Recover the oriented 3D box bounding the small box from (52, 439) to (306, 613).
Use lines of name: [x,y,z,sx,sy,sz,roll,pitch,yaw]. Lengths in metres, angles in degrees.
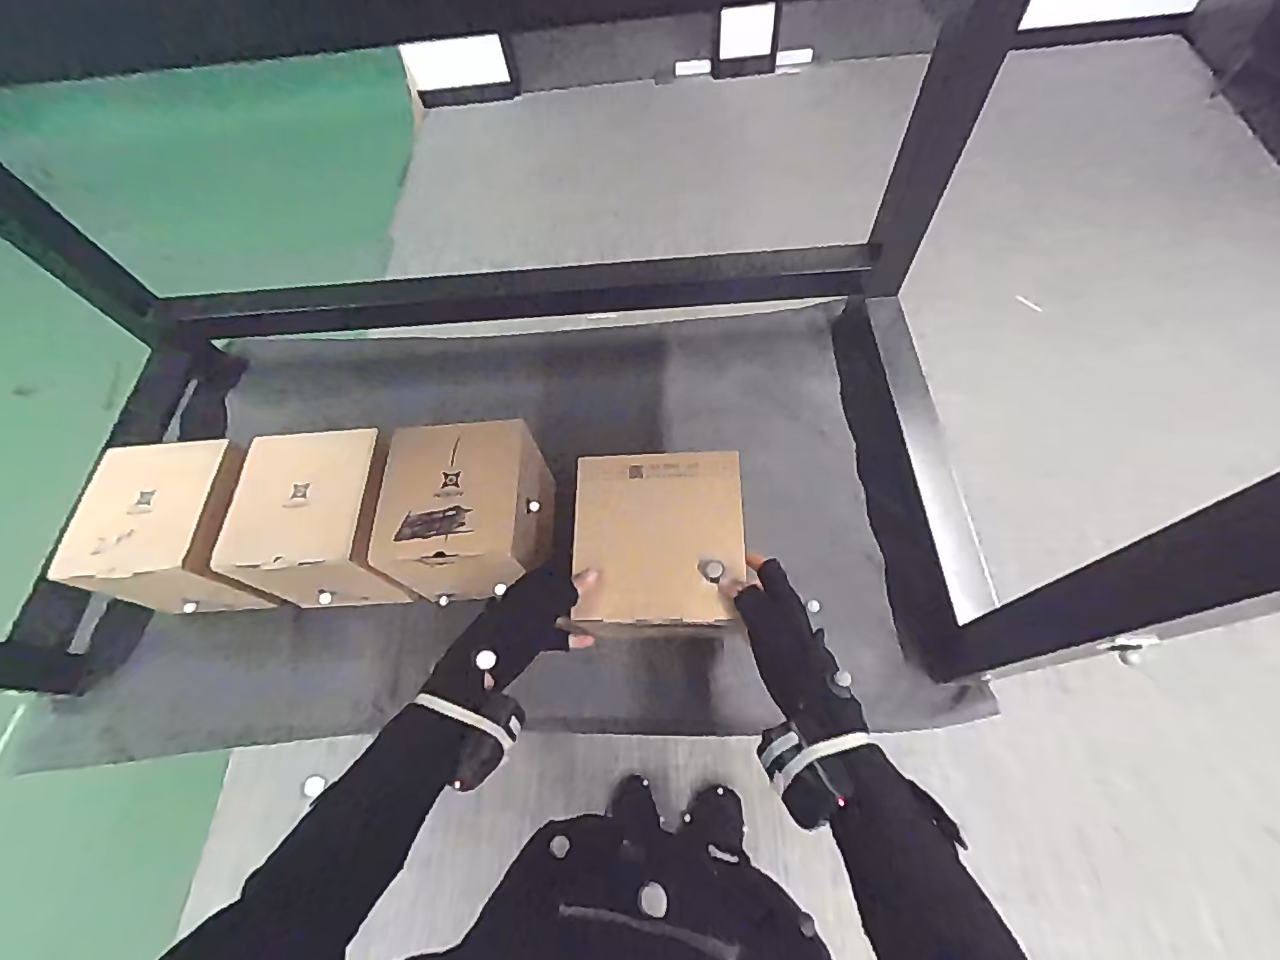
small box: [-0.585,0.067,0.720,0.168,0.176,0.179,-4,62,4]
